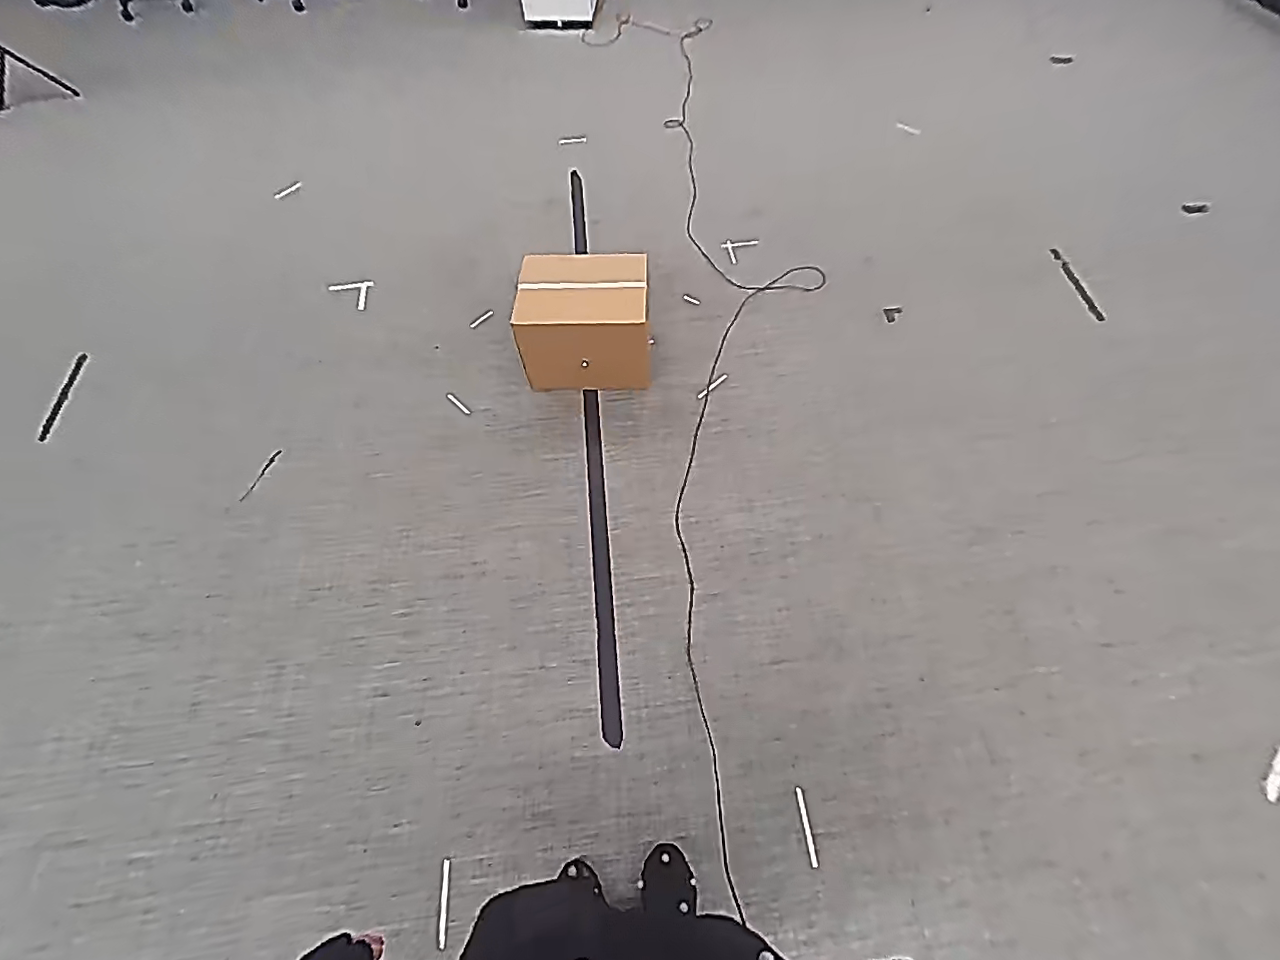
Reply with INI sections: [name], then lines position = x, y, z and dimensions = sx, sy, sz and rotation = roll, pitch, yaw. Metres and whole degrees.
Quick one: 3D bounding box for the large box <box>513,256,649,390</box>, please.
[large box]
position = -0.174, -0.511, 1.790
dimensions = 0.408, 0.320, 0.320
rotation = 0, 61, 2
